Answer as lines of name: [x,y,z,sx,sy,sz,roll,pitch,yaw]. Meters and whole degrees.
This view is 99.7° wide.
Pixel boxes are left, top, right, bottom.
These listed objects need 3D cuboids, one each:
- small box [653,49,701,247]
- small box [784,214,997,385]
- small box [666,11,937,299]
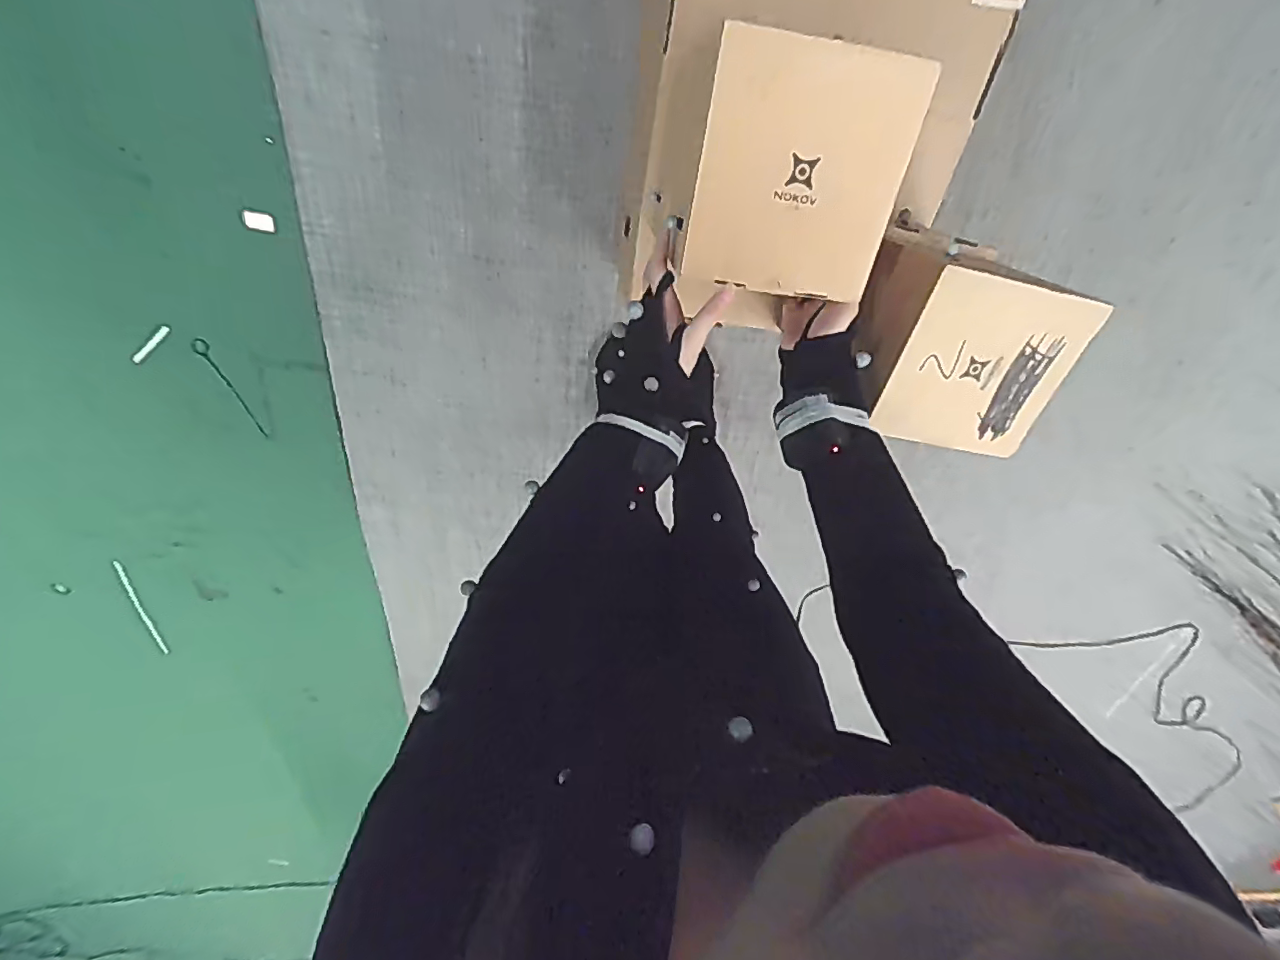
small box: [0.110,-0.367,0.632,0.168,0.176,0.179,7,120,-7]
small box: [0.308,-0.248,0.713,0.168,0.176,0.179,8,120,-8]
small box: [0.120,-0.284,0.493,0.168,0.176,0.179,6,122,-6]
